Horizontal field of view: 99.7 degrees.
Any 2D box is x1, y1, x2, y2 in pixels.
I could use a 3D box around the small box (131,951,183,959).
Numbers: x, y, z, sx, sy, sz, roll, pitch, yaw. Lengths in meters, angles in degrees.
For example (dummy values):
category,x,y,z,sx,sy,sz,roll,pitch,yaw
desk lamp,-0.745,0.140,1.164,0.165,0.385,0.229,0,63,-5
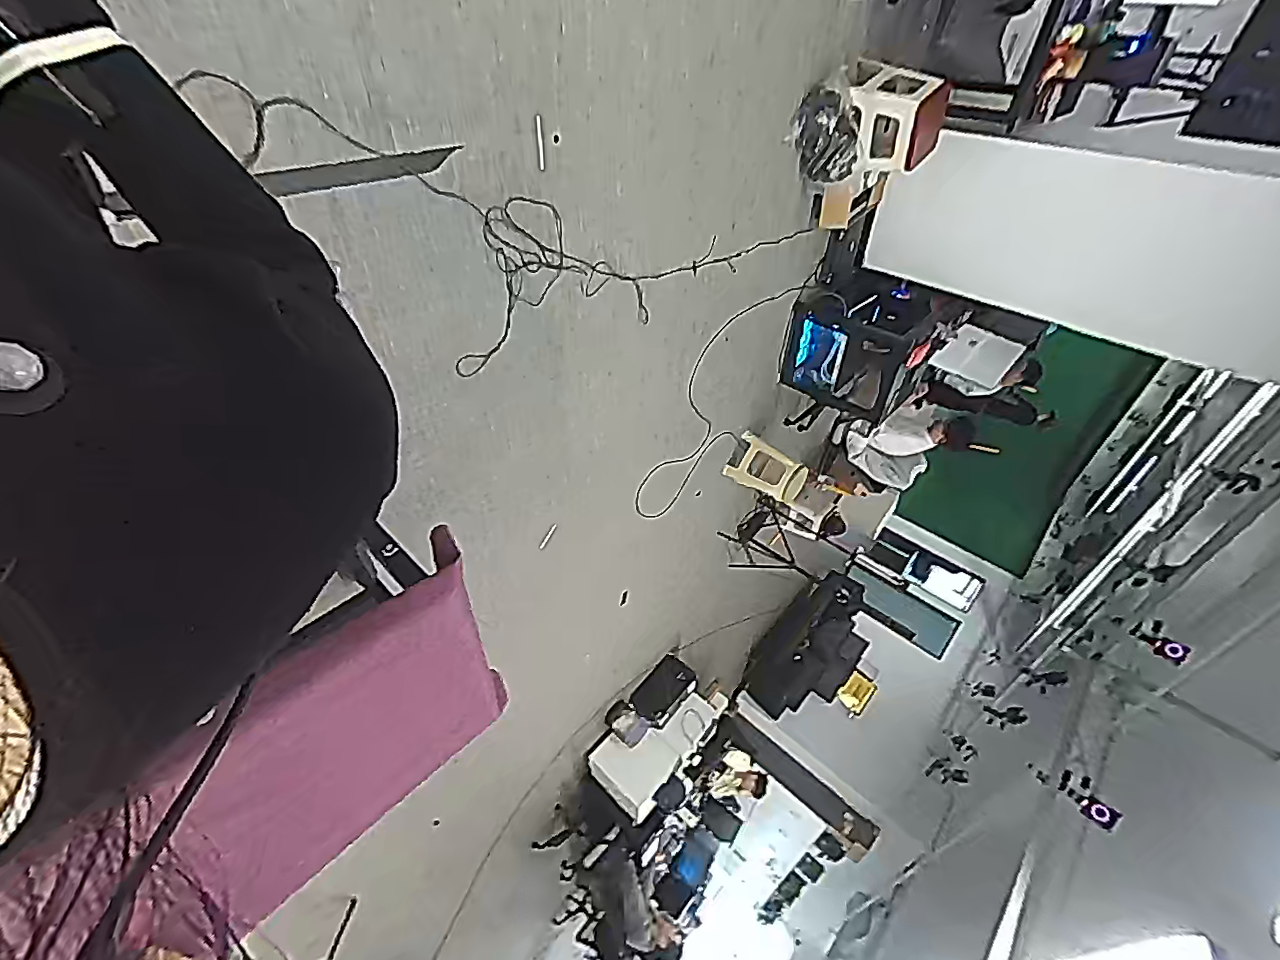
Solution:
category,x,y,z,sx,sy,sz,roll,pitch,yaw
small box,-0.891,0.984,0.949,0.168,0.176,0.179,-36,143,-35
